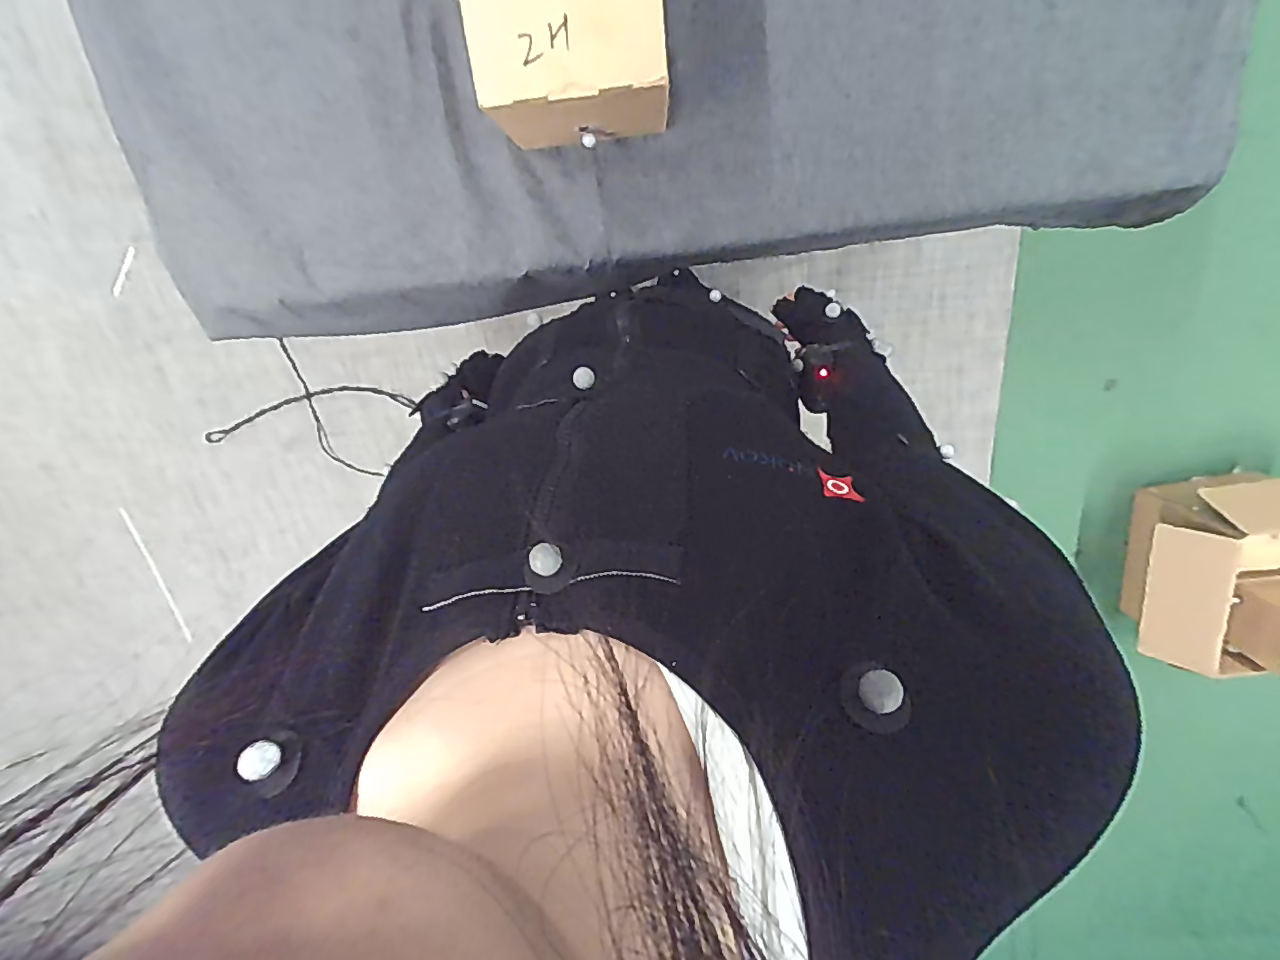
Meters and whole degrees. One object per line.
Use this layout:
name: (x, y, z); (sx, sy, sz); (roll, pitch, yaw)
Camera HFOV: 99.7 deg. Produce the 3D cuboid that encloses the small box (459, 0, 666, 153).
small box: (-0.066, -0.431, 0.508); (0.168, 0.176, 0.179); (-5, 111, 4)
